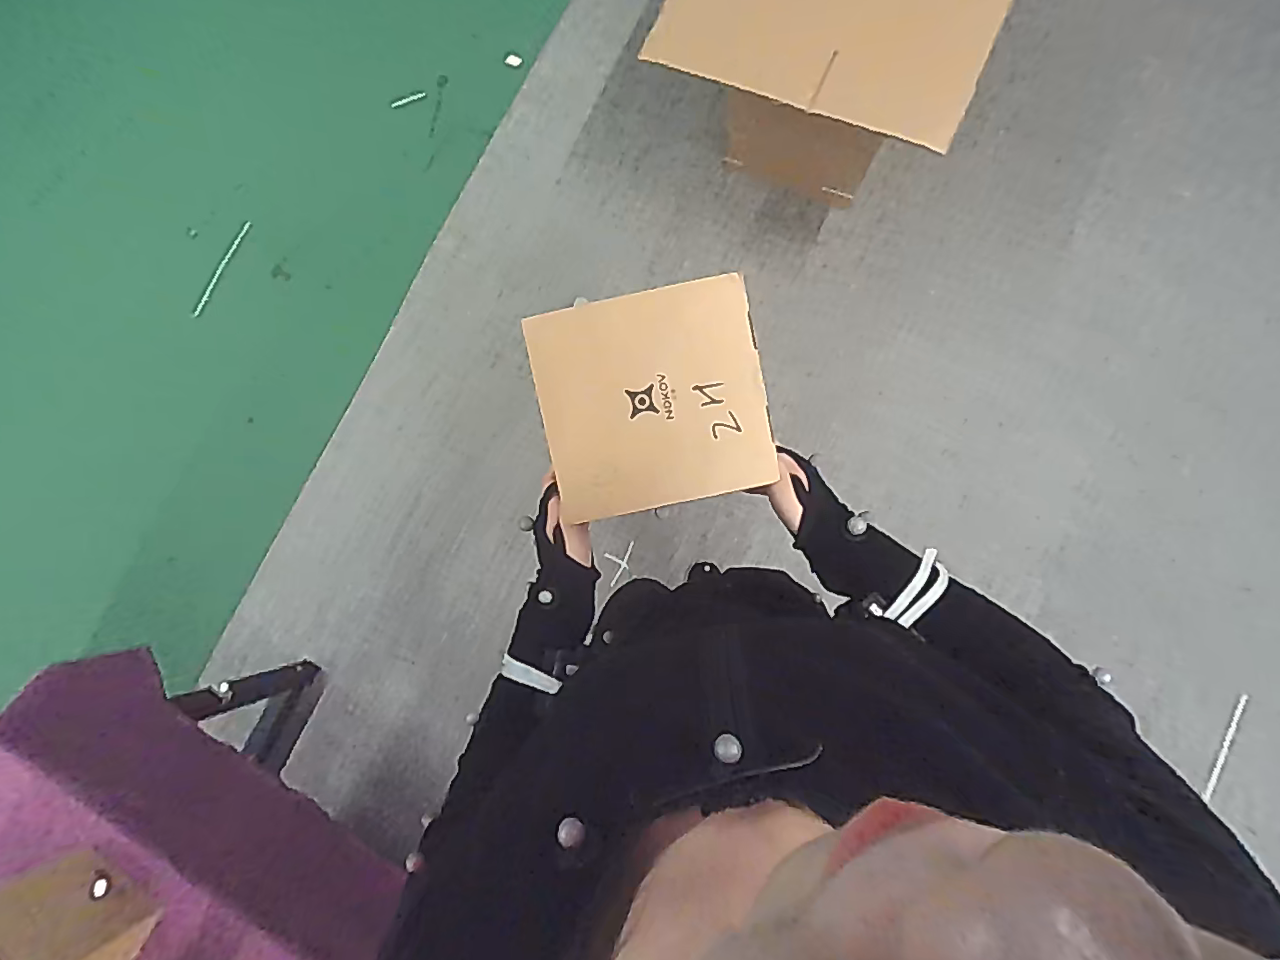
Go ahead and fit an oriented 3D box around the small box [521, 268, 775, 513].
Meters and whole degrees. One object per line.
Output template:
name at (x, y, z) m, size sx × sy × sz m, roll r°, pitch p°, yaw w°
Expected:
small box at (0.008, -0.072, 0.496) m, size 0.179 × 0.176 × 0.168 m, roll -11°, pitch 94°, yaw 1°
